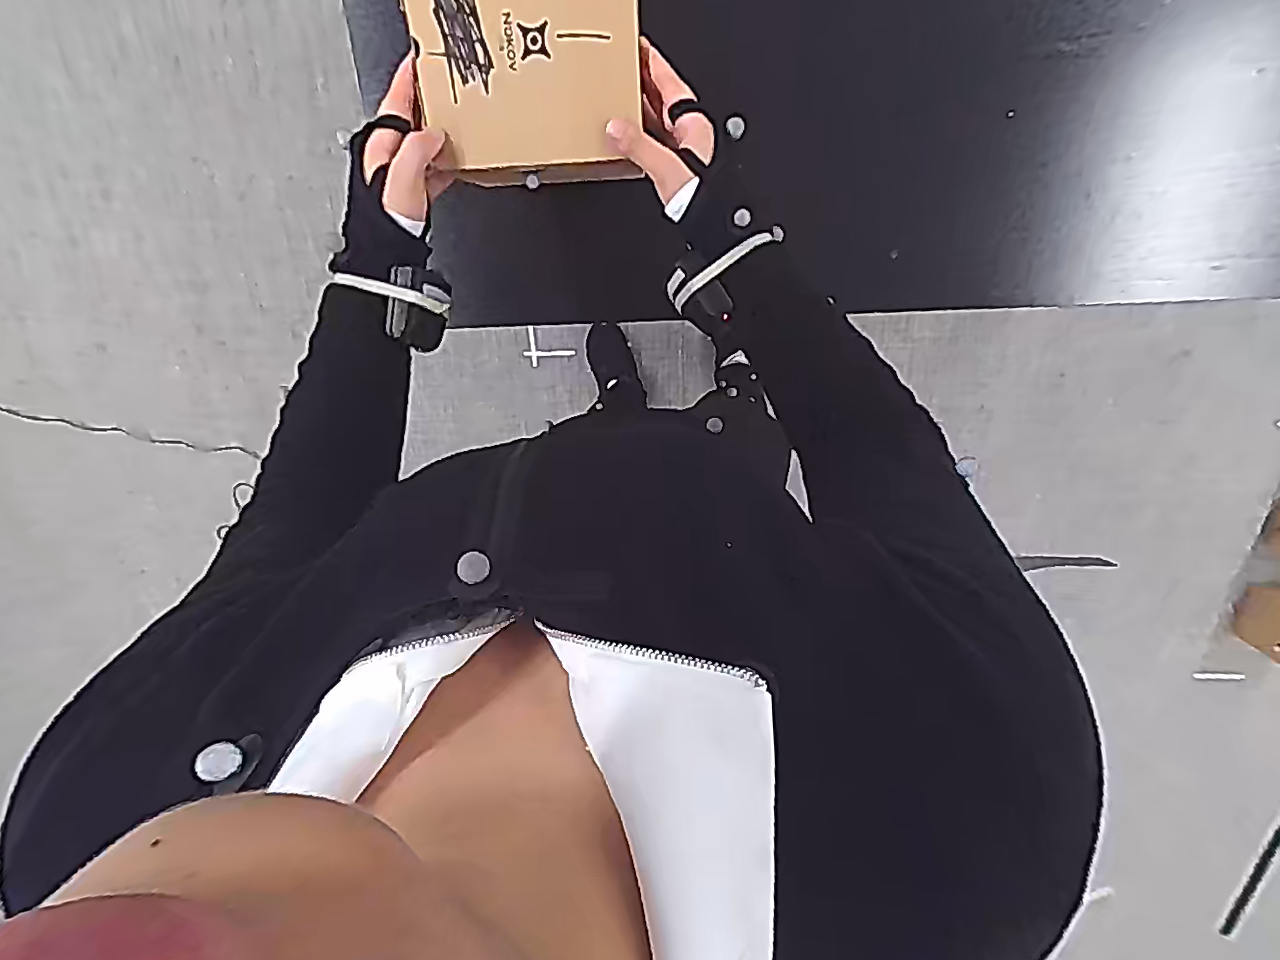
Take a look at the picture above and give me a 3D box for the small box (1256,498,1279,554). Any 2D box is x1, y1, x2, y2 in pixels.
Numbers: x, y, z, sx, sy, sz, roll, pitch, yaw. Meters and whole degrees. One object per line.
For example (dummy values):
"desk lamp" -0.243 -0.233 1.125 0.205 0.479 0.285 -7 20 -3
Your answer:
"small box" 1.803 0.134 1.412 0.179 0.176 0.168 2 111 3

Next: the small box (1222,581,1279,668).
"small box" 1.814 0.403 1.516 0.168 0.176 0.179 -2 111 3

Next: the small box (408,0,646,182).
"small box" -0.085 -0.370 0.486 0.179 0.176 0.168 -2 115 1
